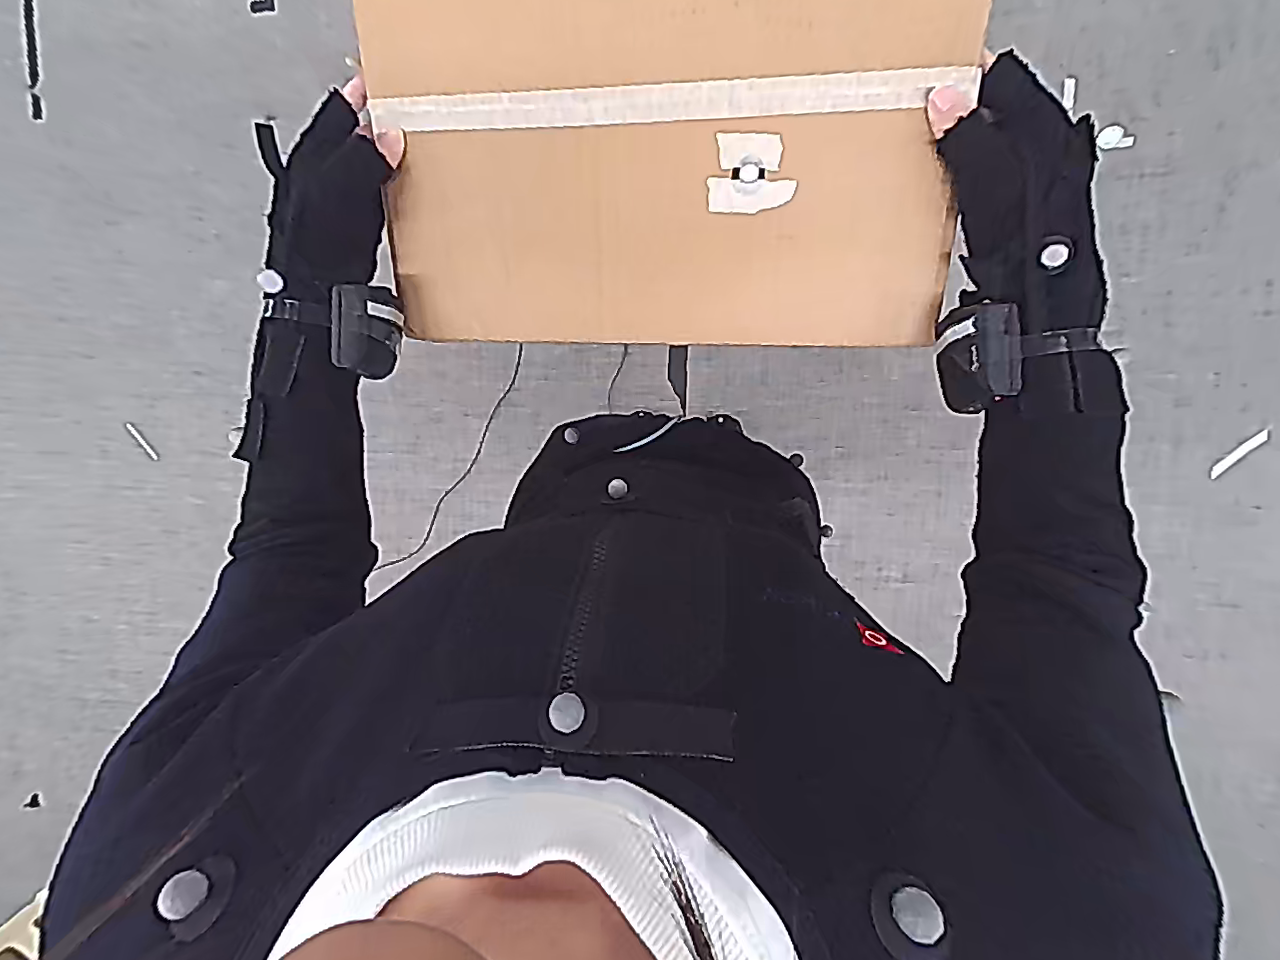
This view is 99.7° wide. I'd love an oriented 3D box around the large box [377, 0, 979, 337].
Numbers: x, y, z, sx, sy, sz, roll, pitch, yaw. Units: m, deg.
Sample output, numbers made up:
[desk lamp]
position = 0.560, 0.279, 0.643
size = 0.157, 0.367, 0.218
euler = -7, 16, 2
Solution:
[large box]
position = 0.032, -0.309, 0.513
size = 0.408, 0.320, 0.320
euler = 2, 110, 7
